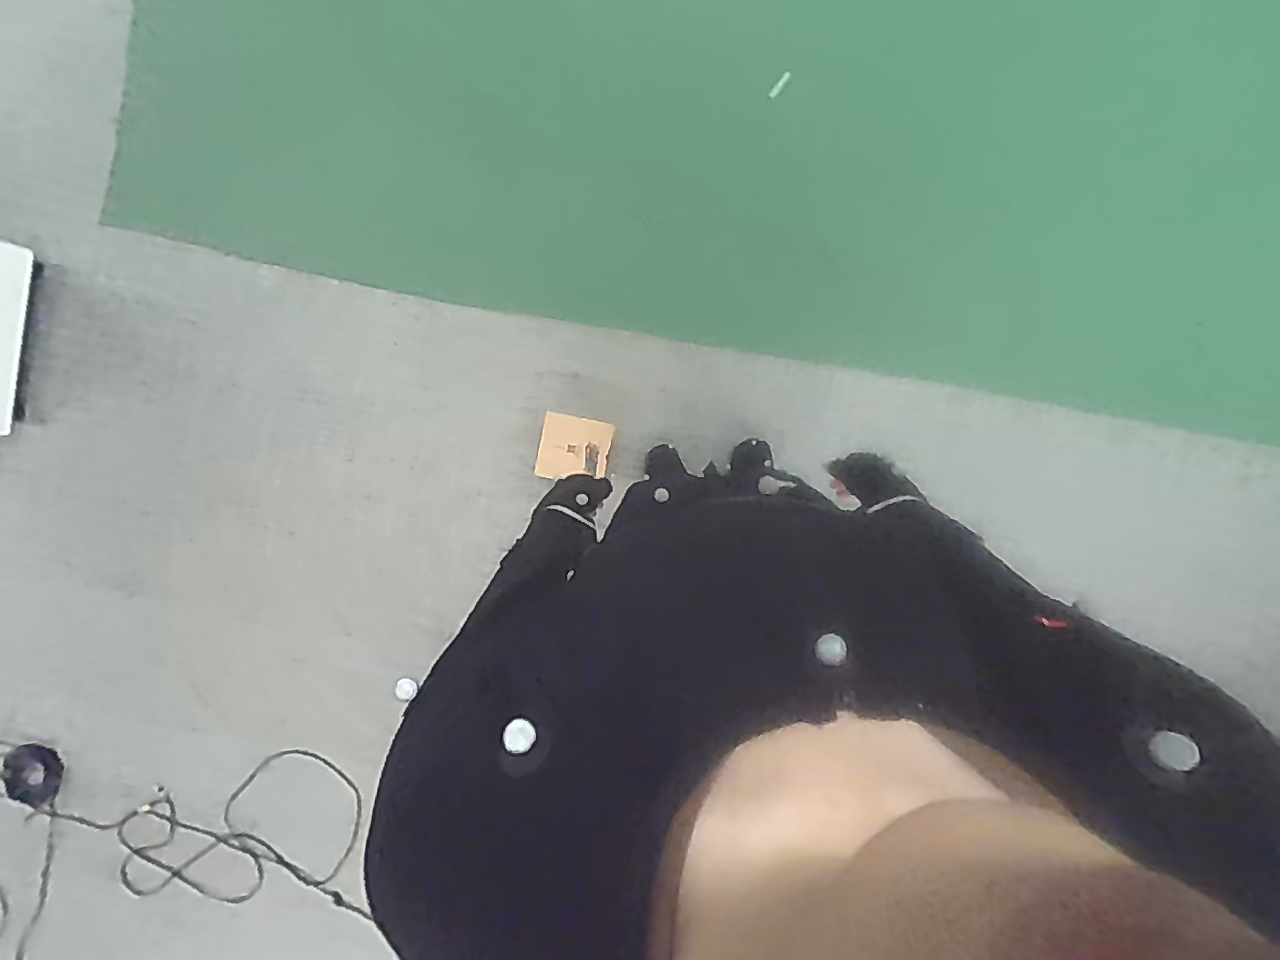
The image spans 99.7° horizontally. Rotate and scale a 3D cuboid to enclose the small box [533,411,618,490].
[{"bbox_3d":[-0.158,-0.078,1.396,0.179,0.176,0.168,12,93,1],"label":"small box"}]
